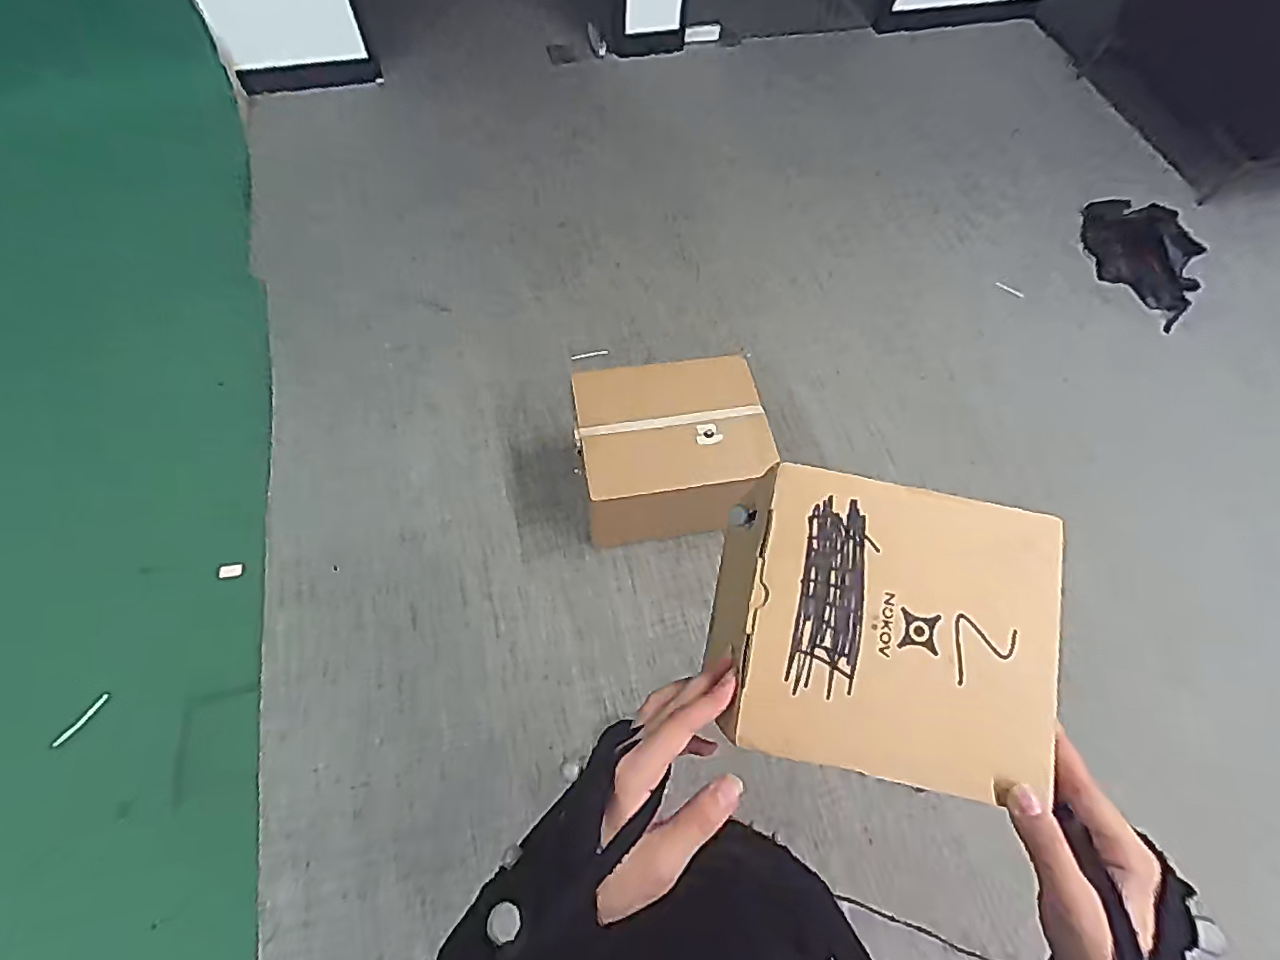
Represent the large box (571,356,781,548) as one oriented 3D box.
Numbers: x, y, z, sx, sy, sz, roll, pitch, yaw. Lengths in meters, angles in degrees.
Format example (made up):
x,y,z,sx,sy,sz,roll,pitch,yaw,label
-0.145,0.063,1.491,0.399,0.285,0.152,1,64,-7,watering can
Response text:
x,y,z,sx,sy,sz,roll,pitch,yaw,label
0.059,-0.057,1.282,0.408,0.320,0.320,-8,66,-9,large box
